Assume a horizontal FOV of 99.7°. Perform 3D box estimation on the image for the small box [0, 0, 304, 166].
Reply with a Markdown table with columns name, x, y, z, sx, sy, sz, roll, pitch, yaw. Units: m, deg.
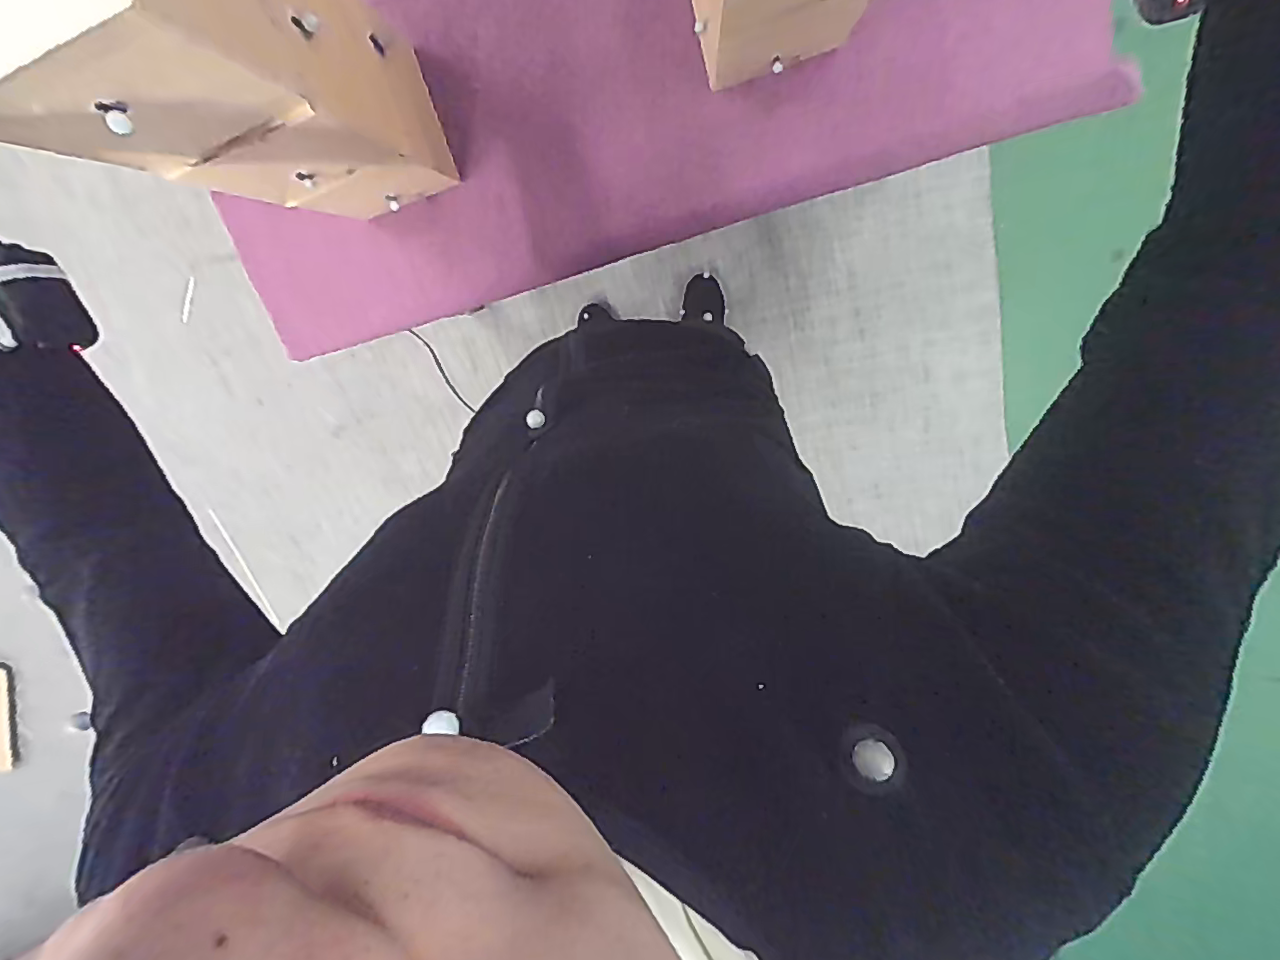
| name | x | y | z | sx | sy | sz | roll | pitch | yaw |
| --- | --- | --- | --- | --- | --- | --- | --- | --- | --- |
| small box | -0.392 | -0.349 | 0.379 | 0.179 | 0.176 | 0.168 | -17 | 108 | 11 |

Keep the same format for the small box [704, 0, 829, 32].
| name | x | y | z | sx | sy | sz | roll | pitch | yaw |
| --- | --- | --- | --- | --- | --- | --- | --- | --- | --- |
| small box | 0.123 | -0.515 | 0.445 | 0.168 | 0.176 | 0.179 | -14 | 108 | 10 |

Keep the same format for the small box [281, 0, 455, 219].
| name | x | y | z | sx | sy | sz | roll | pitch | yaw |
| --- | --- | --- | --- | --- | --- | --- | --- | --- | --- |
| small box | -0.367 | -0.455 | 0.687 | 0.168 | 0.176 | 0.179 | -14 | 108 | 10 |

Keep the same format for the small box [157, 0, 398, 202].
| name | x | y | z | sx | sy | sz | roll | pitch | yaw |
| --- | --- | --- | --- | --- | --- | --- | --- | --- | --- |
| small box | -0.380 | -0.402 | 0.534 | 0.168 | 0.176 | 0.179 | -16 | 108 | 10 |
